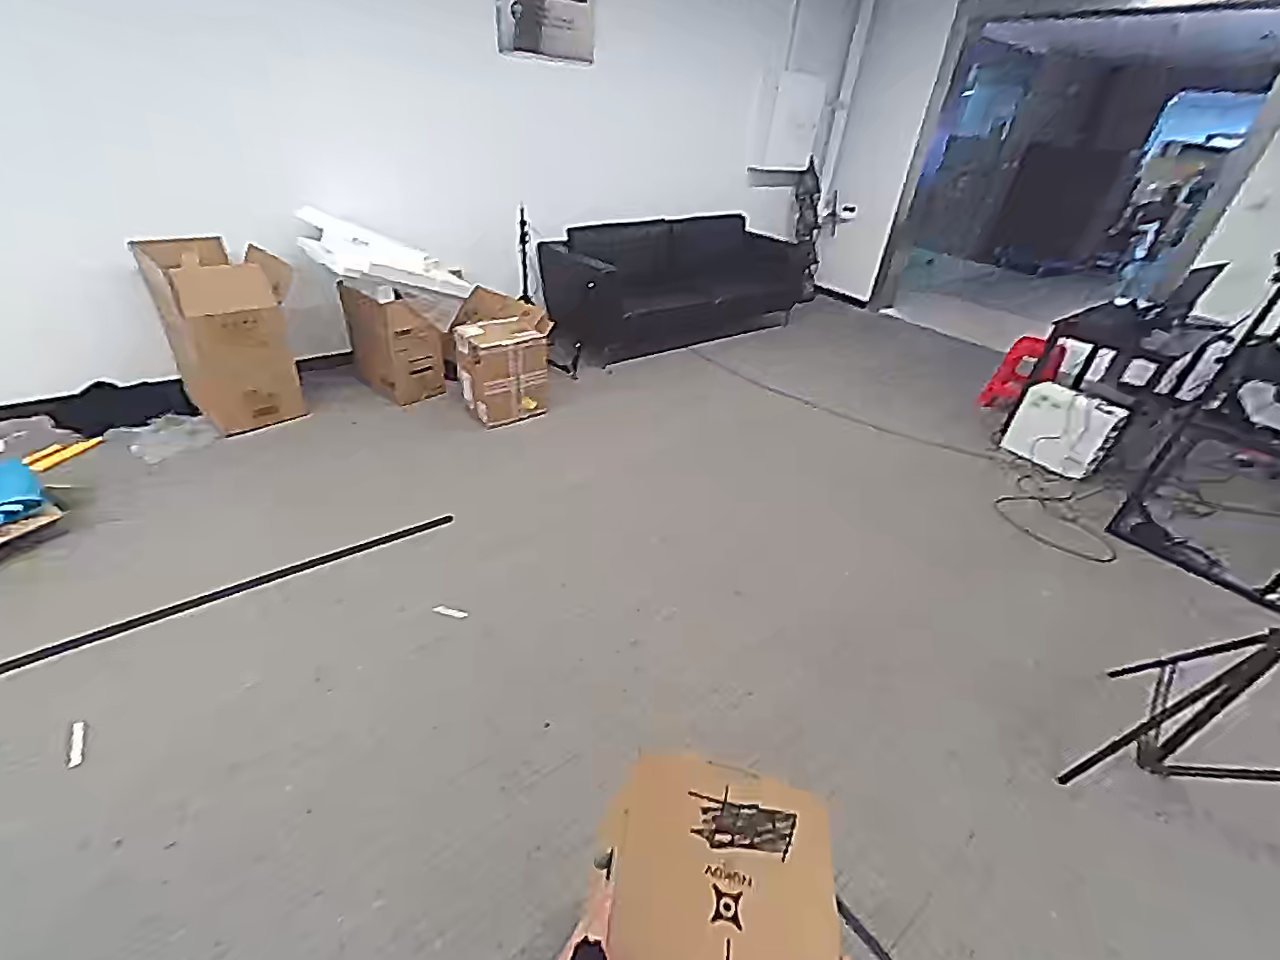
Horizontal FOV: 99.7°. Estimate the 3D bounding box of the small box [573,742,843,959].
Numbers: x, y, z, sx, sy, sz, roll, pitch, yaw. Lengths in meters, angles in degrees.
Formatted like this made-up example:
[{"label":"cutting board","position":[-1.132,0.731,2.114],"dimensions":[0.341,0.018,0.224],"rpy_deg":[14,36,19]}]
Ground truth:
[{"label":"small box","position":[0.043,0.350,0.430],"dimensions":[0.168,0.176,0.179],"rpy_deg":[16,38,-1]}]
